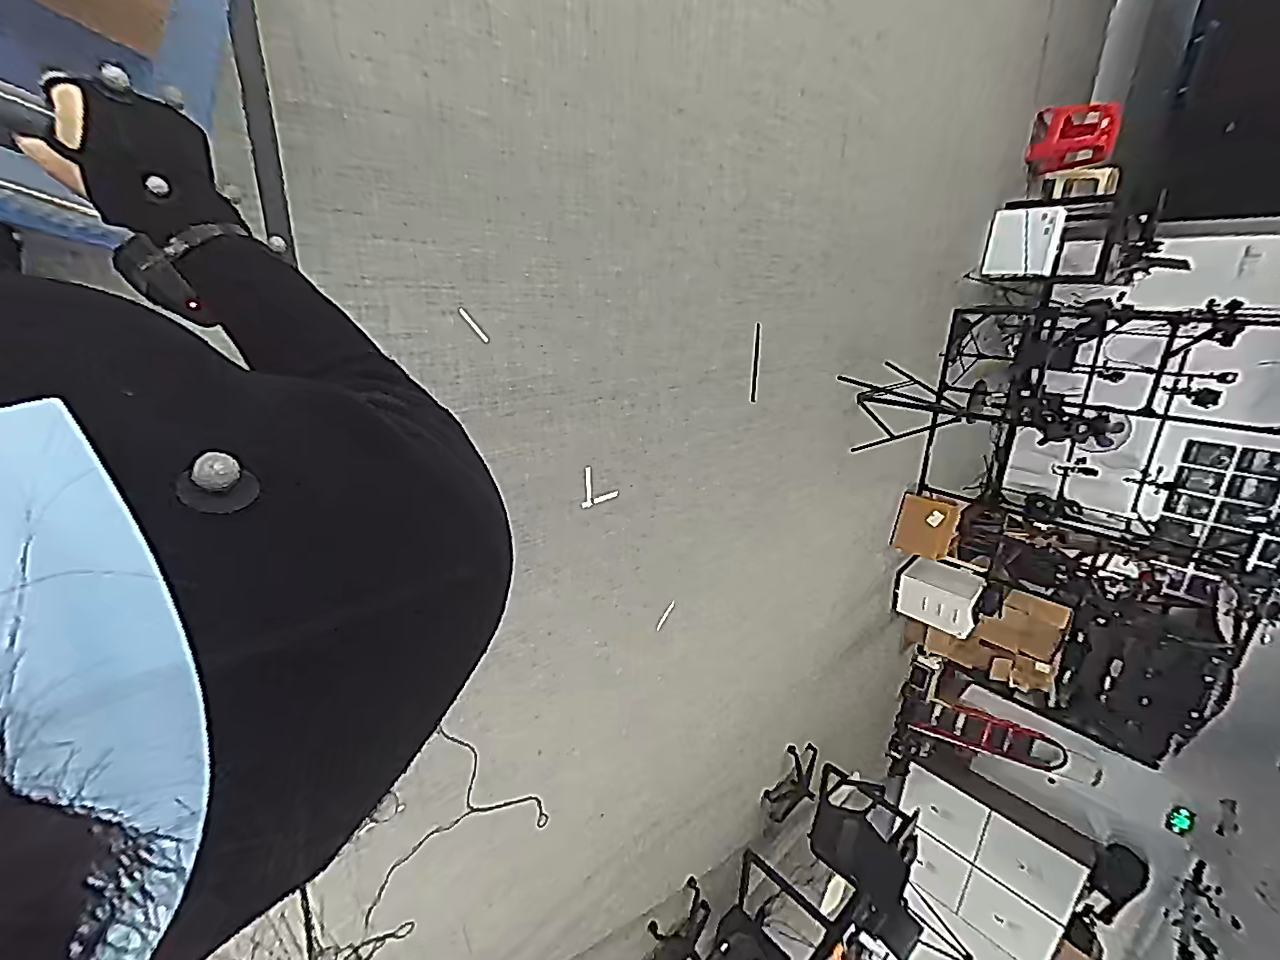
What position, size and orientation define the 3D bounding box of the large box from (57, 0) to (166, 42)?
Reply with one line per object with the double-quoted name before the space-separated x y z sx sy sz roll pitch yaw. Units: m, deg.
"large box" -0.793 -0.827 0.620 0.408 0.320 0.320 9 98 -46
